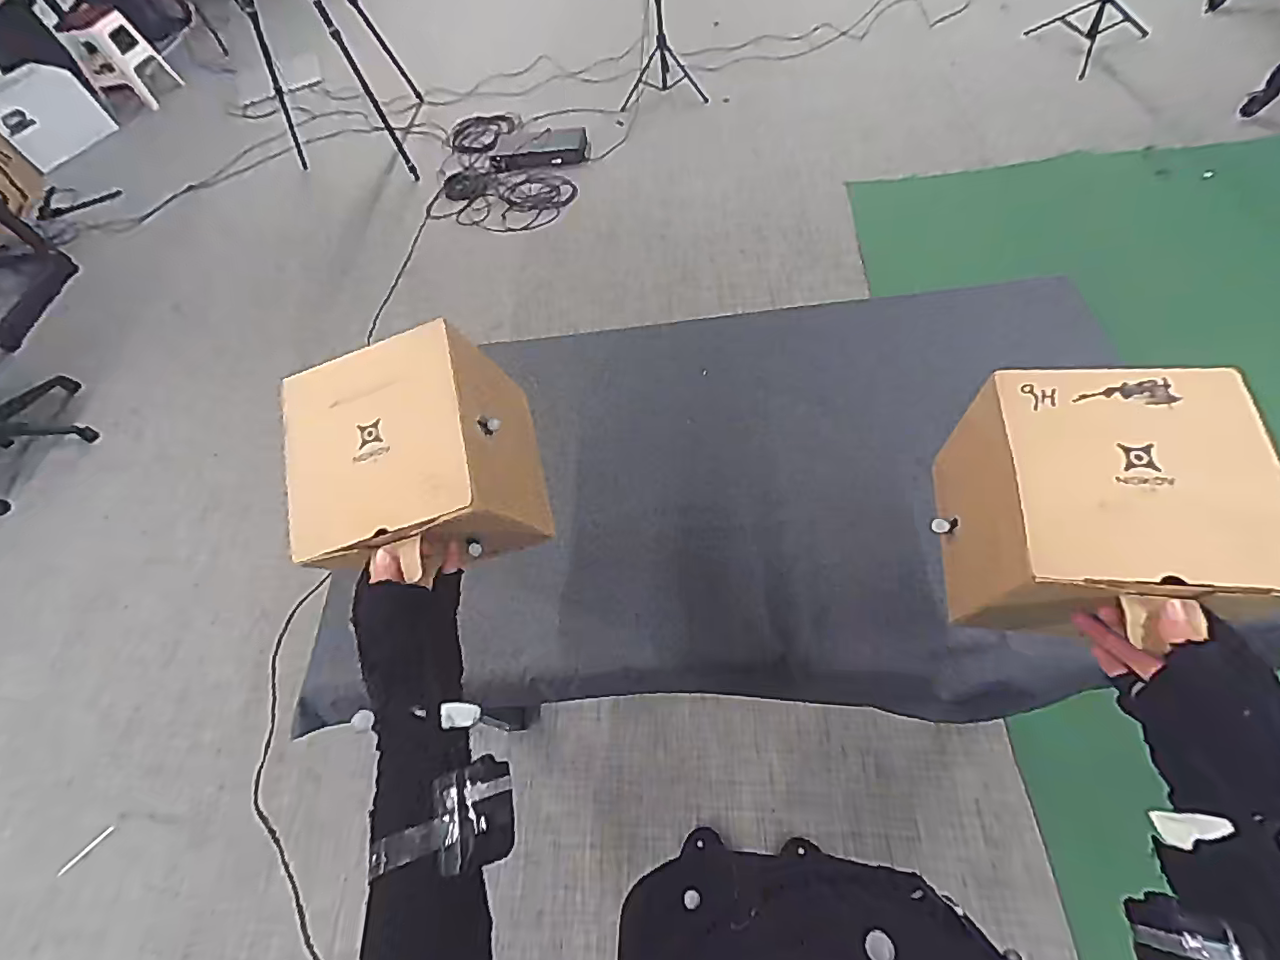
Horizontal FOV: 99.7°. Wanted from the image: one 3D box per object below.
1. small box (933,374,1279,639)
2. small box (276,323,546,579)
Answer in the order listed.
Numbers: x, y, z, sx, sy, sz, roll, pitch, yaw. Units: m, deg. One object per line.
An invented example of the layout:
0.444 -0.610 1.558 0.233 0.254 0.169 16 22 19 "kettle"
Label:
0.367 0.031 0.456 0.168 0.176 0.179 2 66 11 "small box"
-0.204 -0.010 0.514 0.168 0.176 0.179 -18 71 7 "small box"
